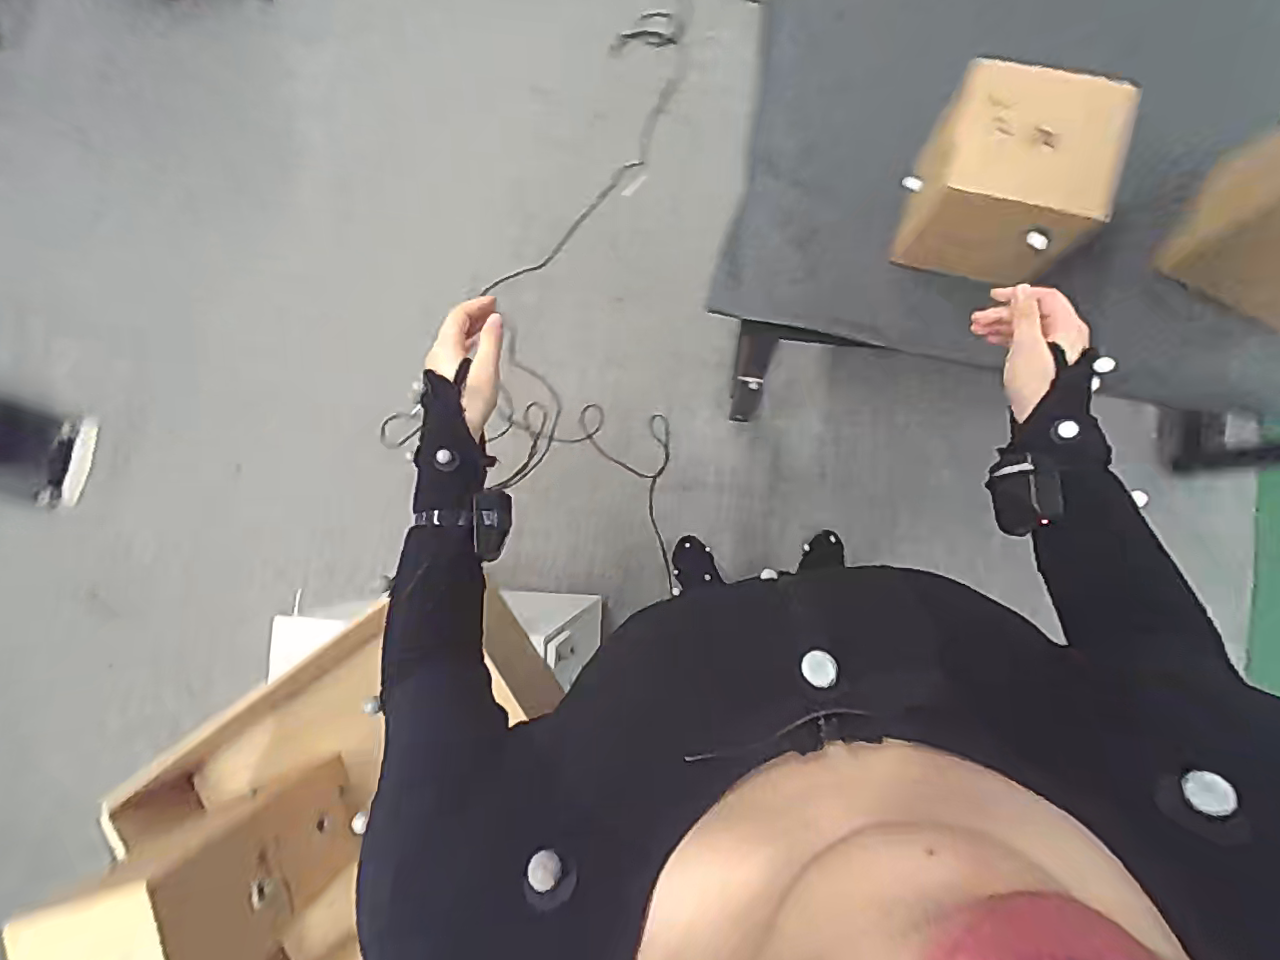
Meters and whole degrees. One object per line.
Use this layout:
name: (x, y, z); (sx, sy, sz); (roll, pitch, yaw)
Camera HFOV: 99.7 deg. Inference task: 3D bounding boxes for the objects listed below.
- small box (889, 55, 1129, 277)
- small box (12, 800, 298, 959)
small box: (0.447, -0.380, 0.684); (0.179, 0.176, 0.168); (16, 86, 8)
small box: (-0.566, 0.530, 0.653); (0.179, 0.176, 0.168); (-20, 86, 3)
